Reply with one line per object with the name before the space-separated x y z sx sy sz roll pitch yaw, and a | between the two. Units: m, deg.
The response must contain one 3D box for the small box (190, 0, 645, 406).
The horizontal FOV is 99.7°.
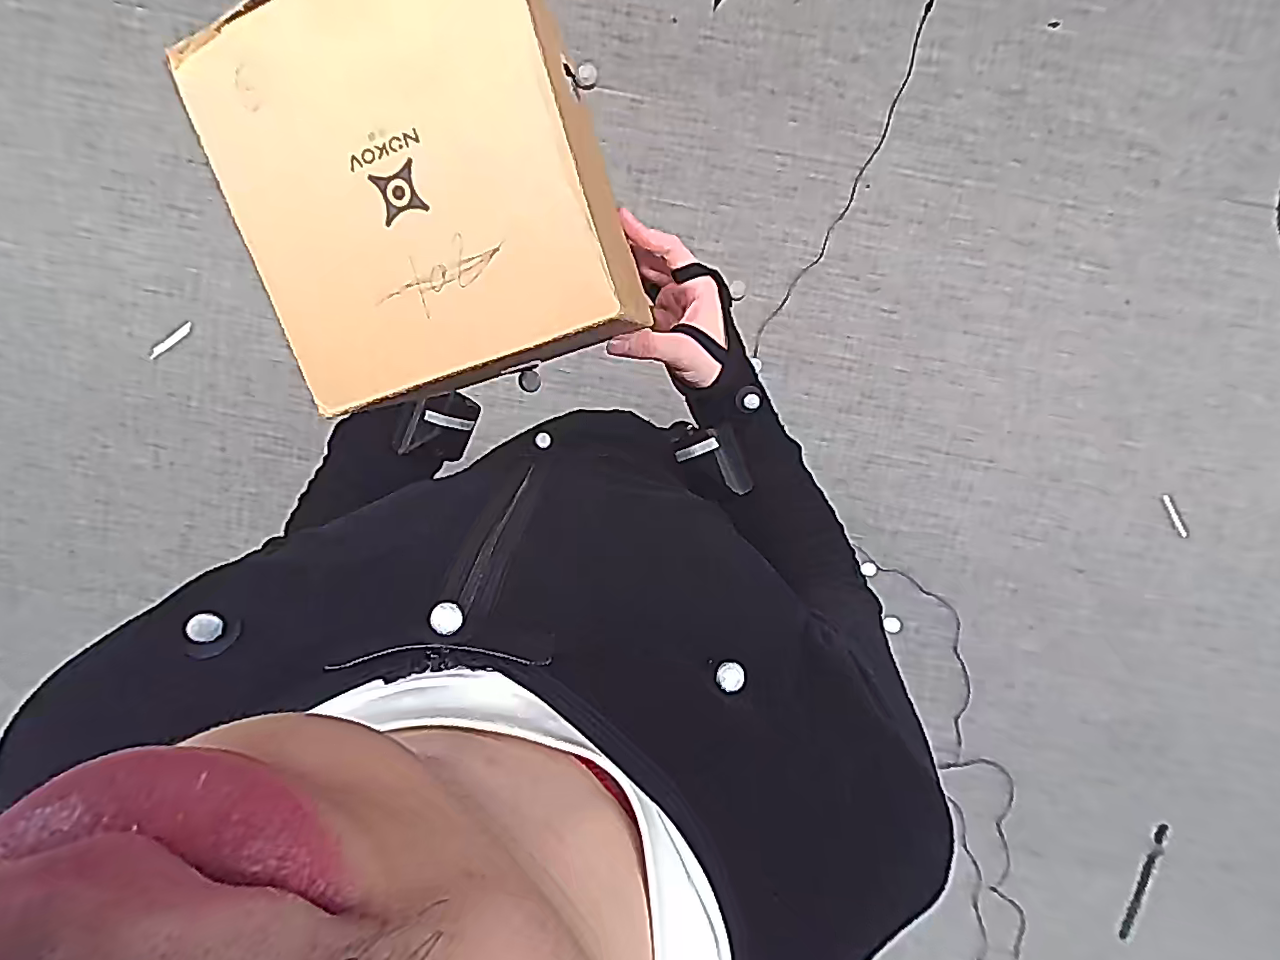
small box | -0.103 -0.158 0.335 0.168 0.176 0.179 -16 103 10
